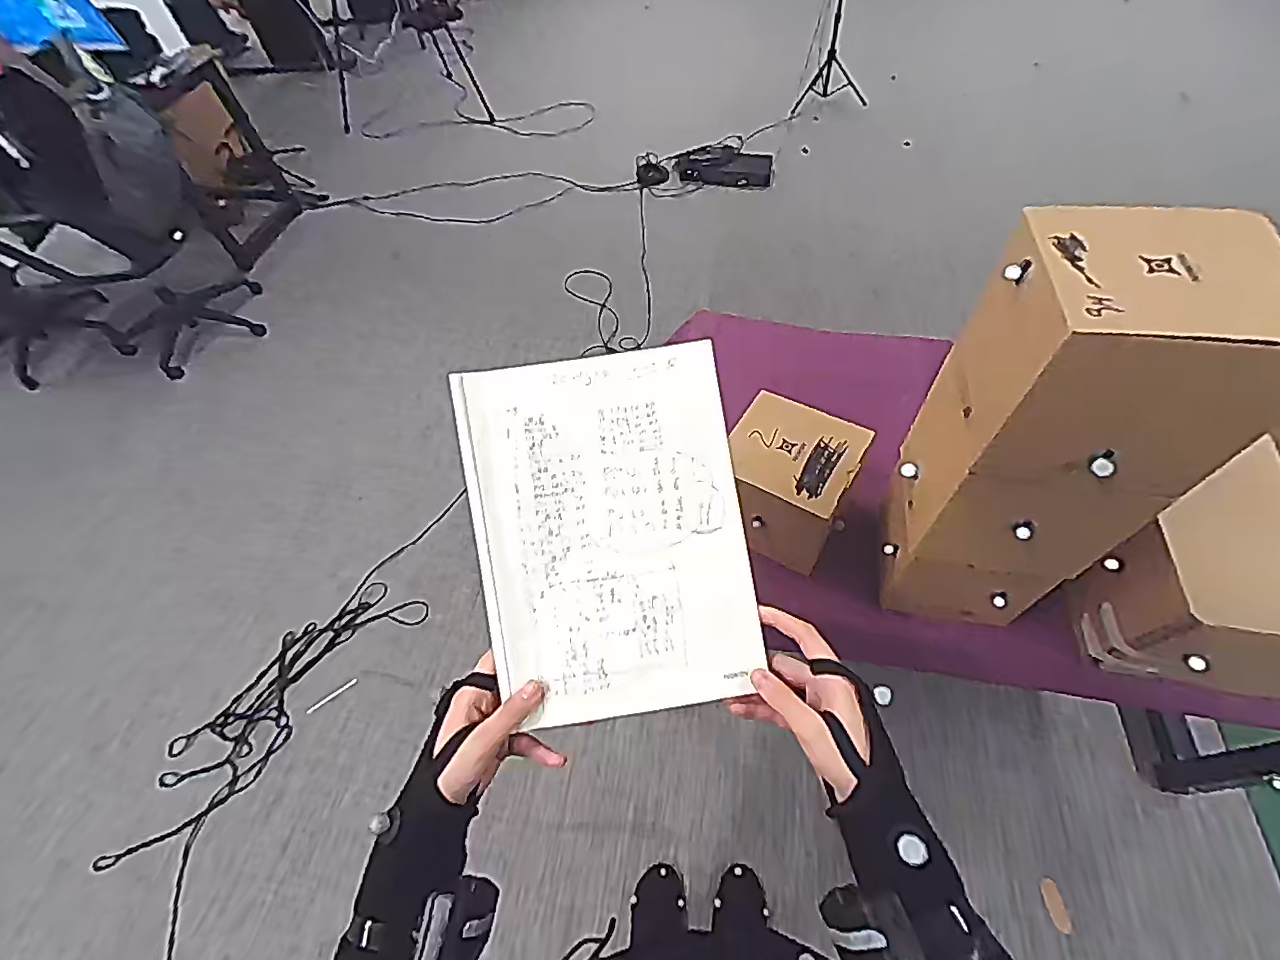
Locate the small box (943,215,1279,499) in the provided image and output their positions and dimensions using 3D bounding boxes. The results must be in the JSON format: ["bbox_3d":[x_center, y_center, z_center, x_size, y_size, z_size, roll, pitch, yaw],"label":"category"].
[{"bbox_3d":[0.395,-0.101,0.468,0.179,0.176,0.168,7,54,9],"label":"small box"}]

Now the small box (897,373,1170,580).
[{"bbox_3d":[0.407,-0.004,0.600,0.179,0.176,0.168,7,54,10],"label":"small box"}]
